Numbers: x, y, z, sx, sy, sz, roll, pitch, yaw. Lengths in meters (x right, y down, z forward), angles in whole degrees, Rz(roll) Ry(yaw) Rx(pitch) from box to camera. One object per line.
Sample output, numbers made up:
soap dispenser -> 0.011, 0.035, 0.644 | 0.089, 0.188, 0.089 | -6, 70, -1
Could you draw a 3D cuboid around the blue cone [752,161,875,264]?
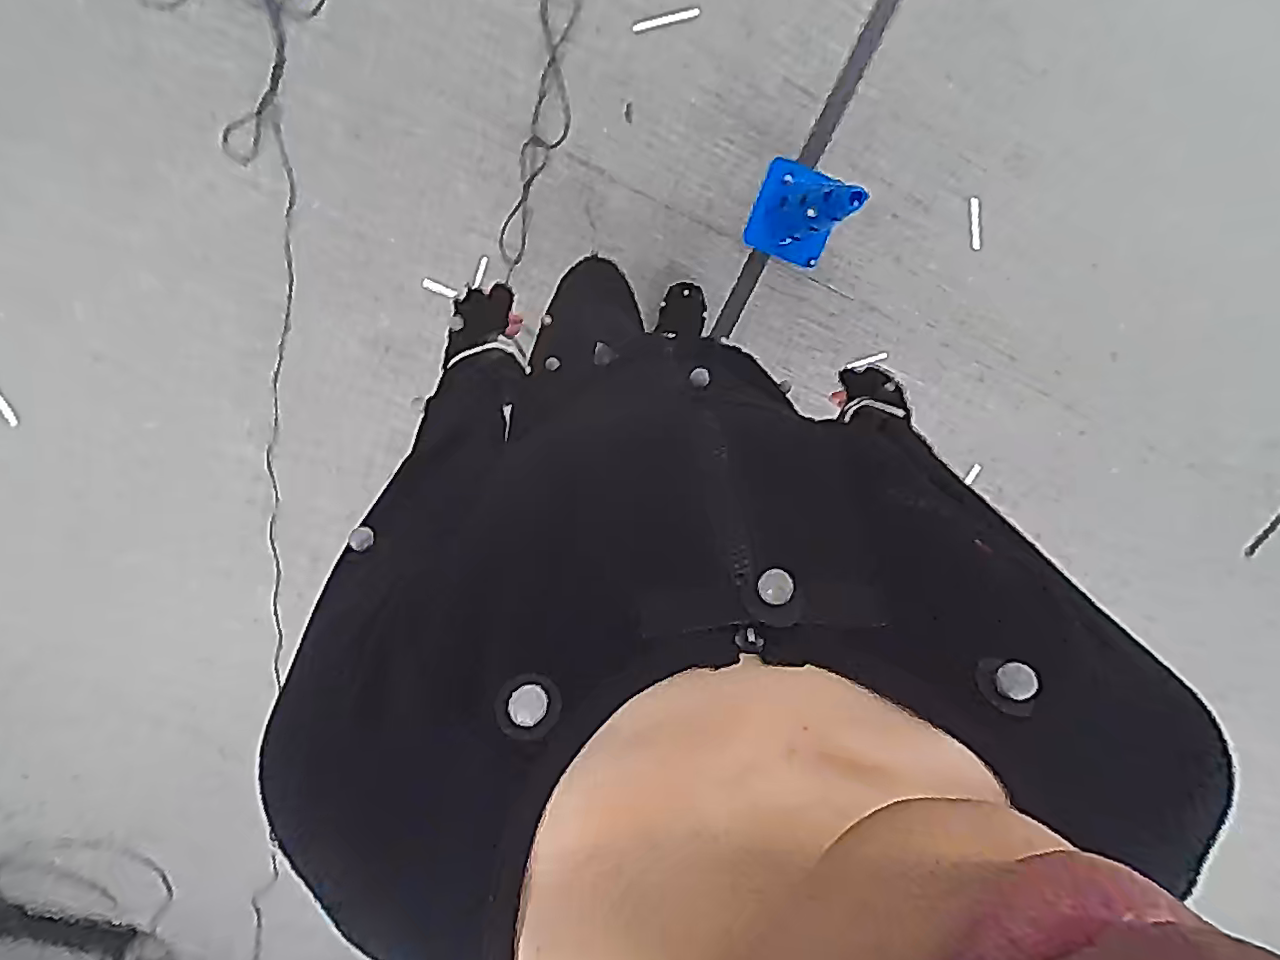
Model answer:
blue cone -> 0.384, -0.575, 1.139 | 0.192, 0.380, 0.193 | 19, 110, -11
